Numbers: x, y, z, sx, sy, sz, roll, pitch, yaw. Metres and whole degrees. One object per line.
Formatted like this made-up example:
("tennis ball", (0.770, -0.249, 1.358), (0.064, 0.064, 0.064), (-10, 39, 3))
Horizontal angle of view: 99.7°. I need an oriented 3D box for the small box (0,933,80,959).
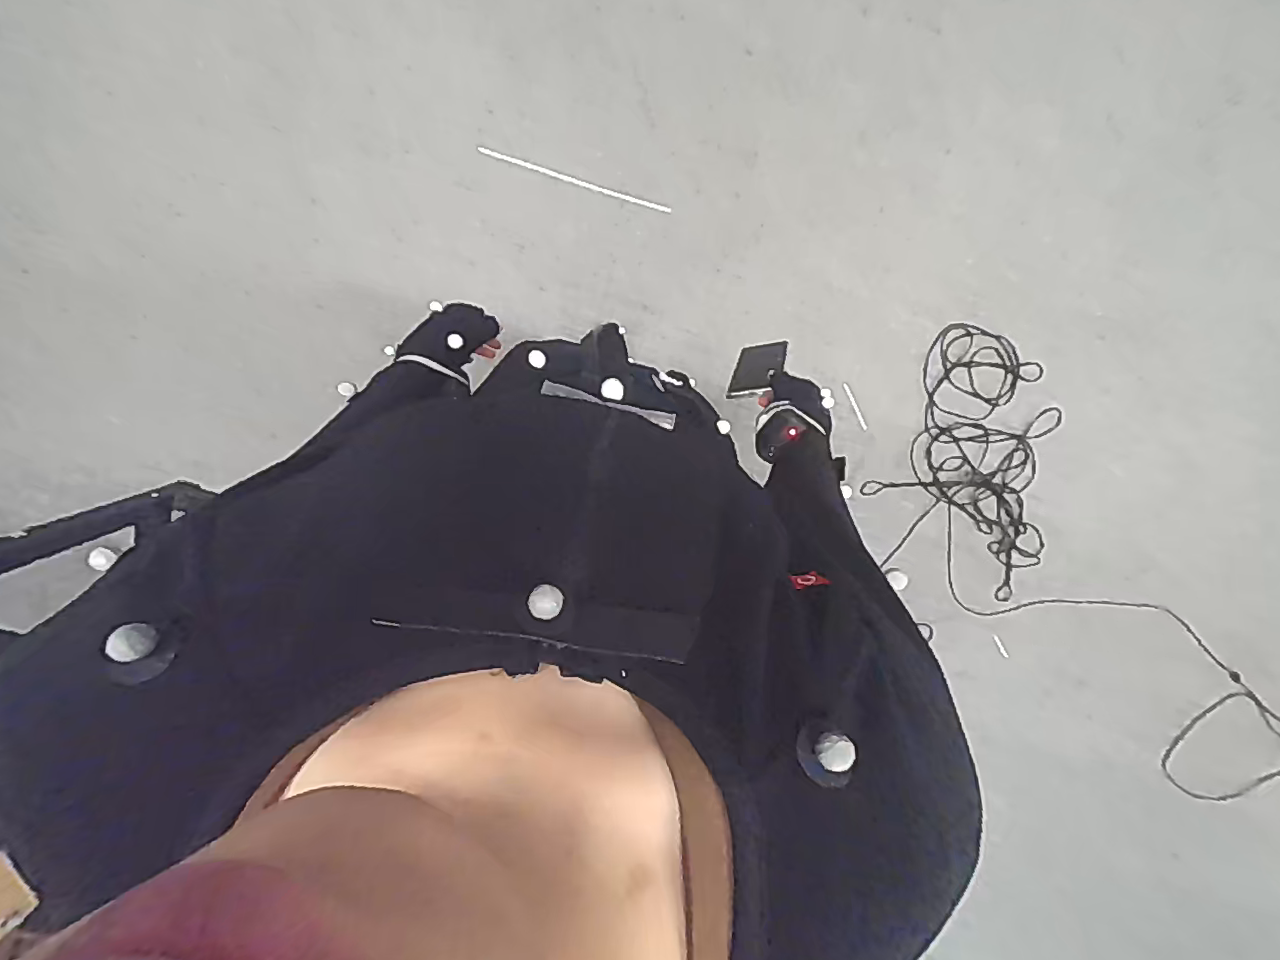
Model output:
("small box", (-1.069, 0.898, 0.877), (0.168, 0.176, 0.179), (18, 103, -6))
